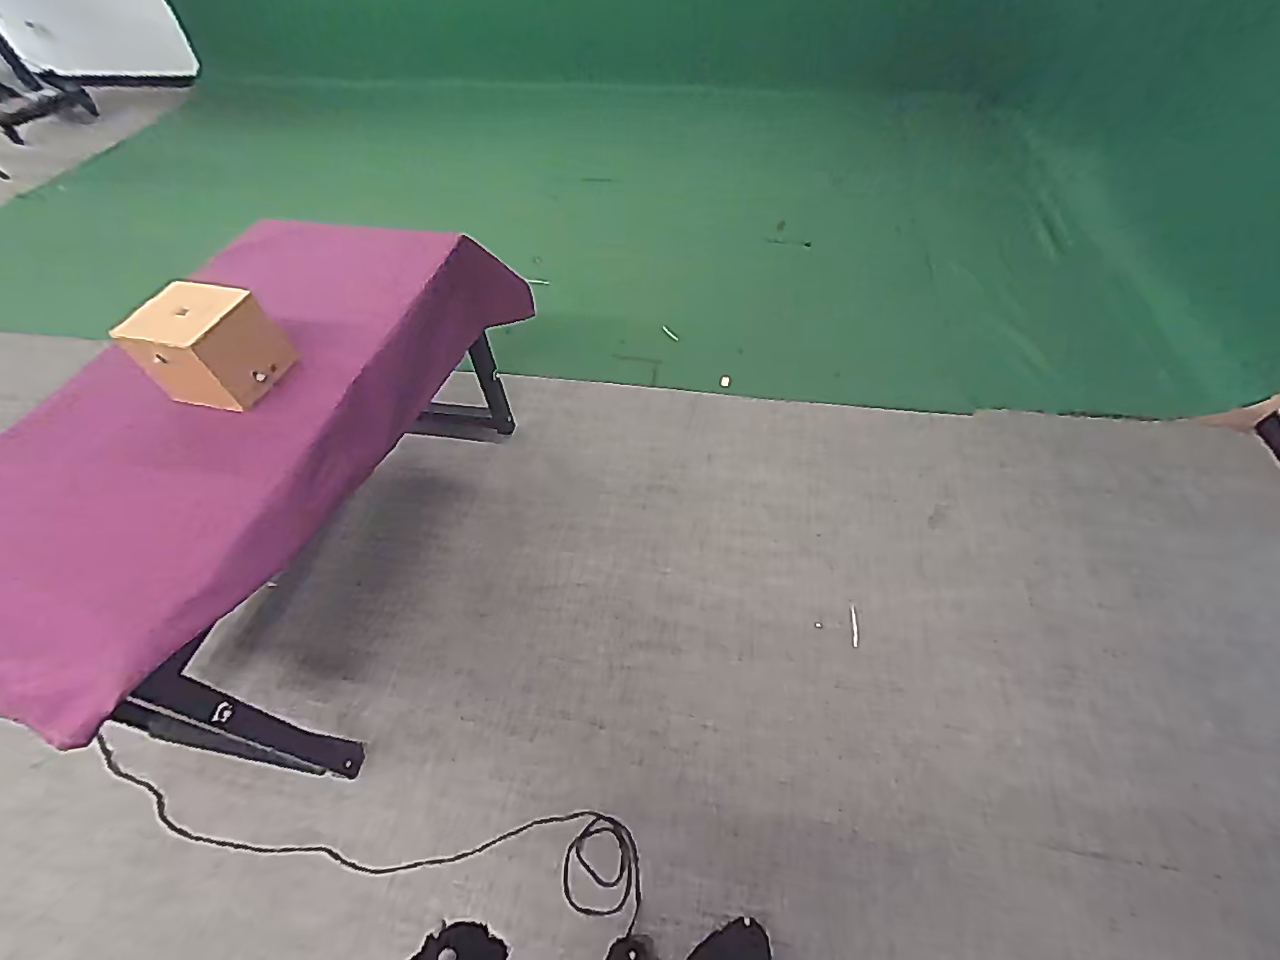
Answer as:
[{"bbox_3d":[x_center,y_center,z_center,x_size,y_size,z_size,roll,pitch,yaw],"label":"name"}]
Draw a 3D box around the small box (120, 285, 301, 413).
[{"bbox_3d":[-0.818,-0.252,1.052,0.179,0.176,0.168,11,54,10],"label":"small box"}]
